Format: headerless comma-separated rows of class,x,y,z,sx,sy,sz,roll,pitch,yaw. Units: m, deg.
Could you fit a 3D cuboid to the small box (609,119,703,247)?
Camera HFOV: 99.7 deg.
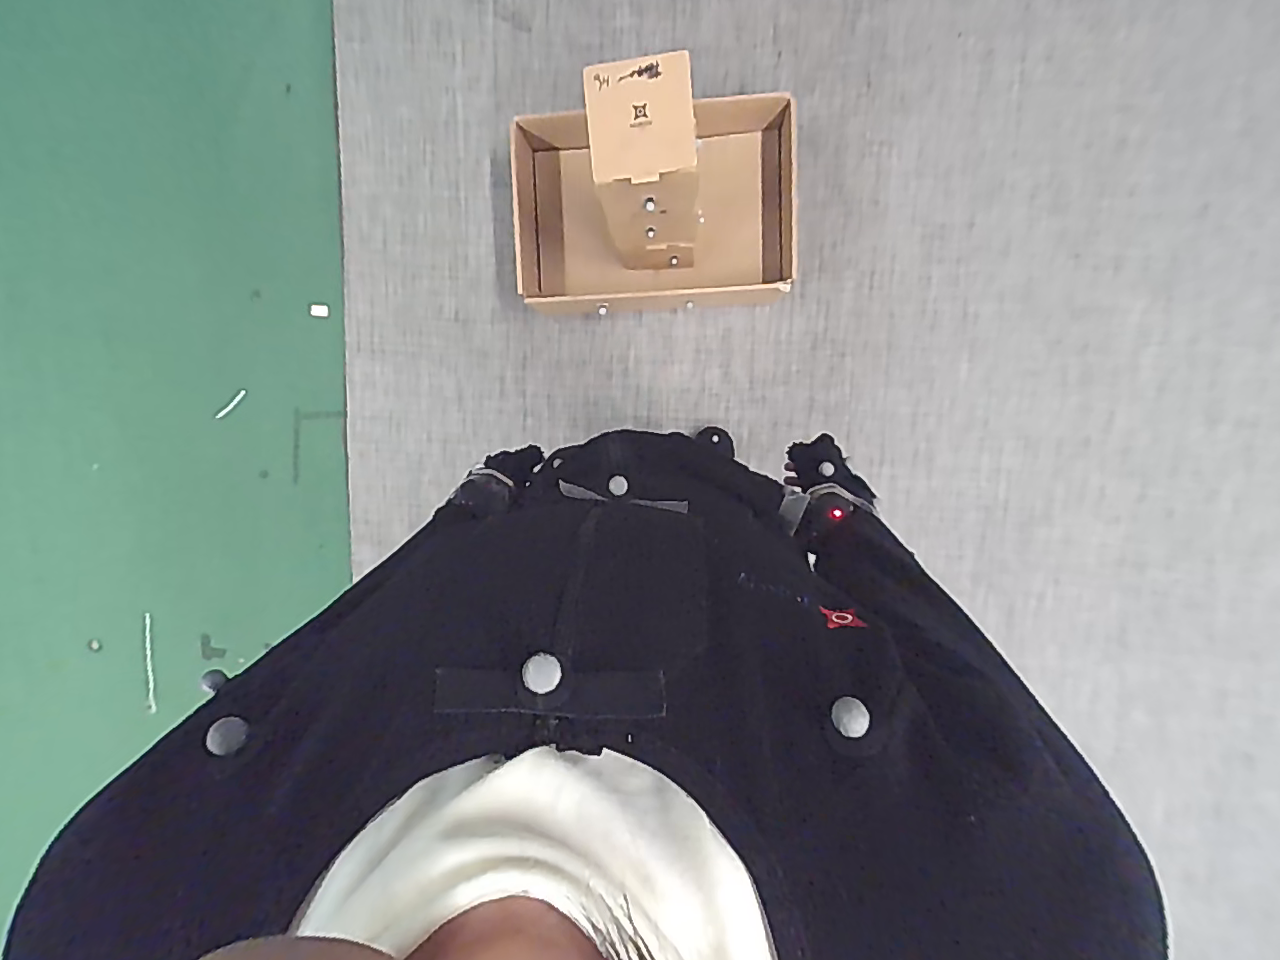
small box,0.028,-0.581,1.077,0.179,0.176,0.168,-5,96,5

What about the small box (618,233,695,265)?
small box,0.042,-0.601,1.239,0.168,0.176,0.179,0,95,5

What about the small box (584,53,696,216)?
small box,0.008,-0.566,0.915,0.168,0.176,0.179,-4,96,6
